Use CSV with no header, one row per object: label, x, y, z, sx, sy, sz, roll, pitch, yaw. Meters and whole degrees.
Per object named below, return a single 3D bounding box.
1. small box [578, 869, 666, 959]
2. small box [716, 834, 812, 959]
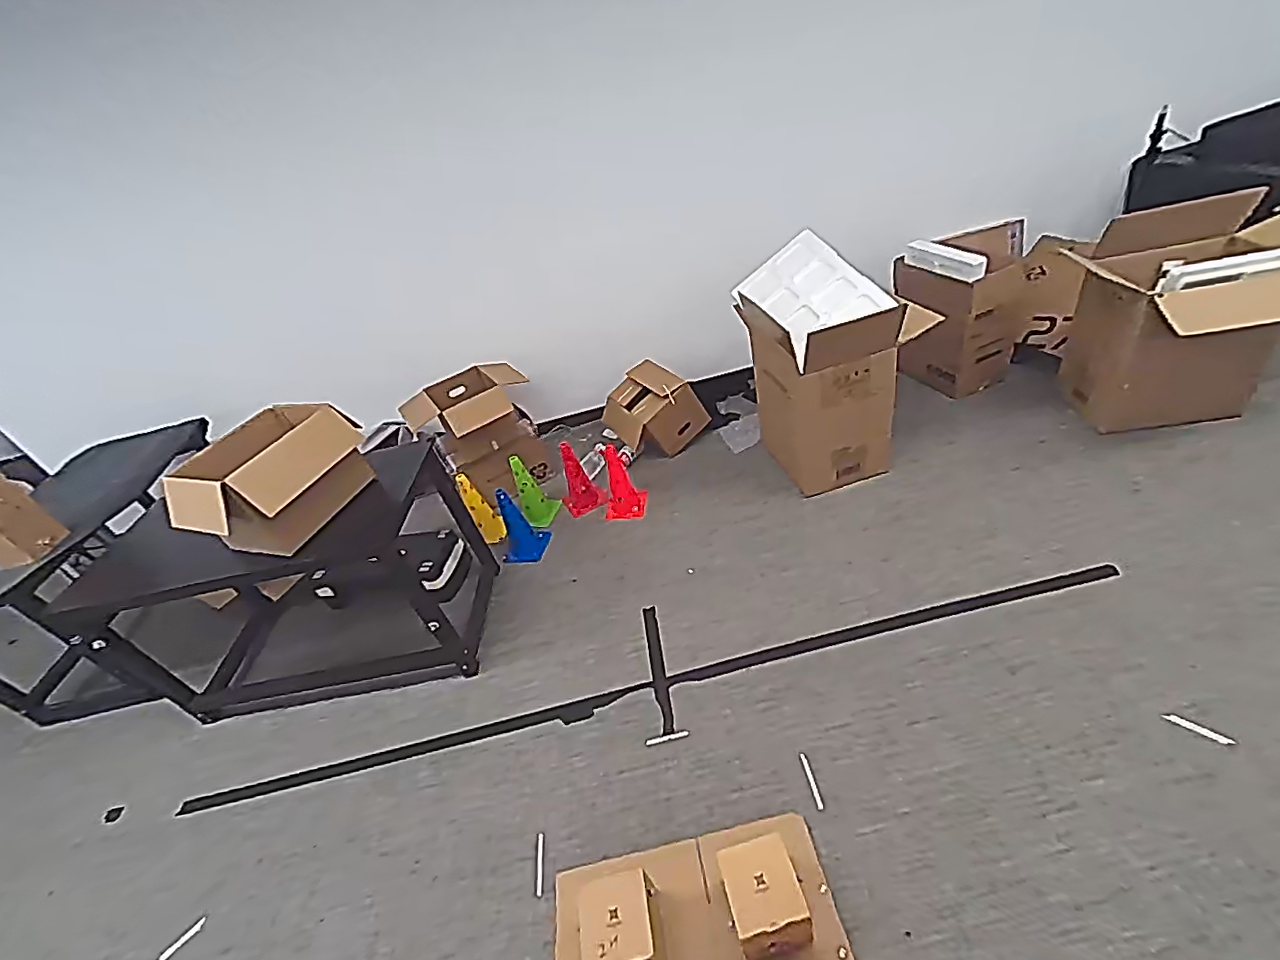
small box,-0.042,1.071,1.282,0.168,0.176,0.179,-16,36,1
small box,0.292,0.987,1.277,0.168,0.176,0.179,-18,36,-2
